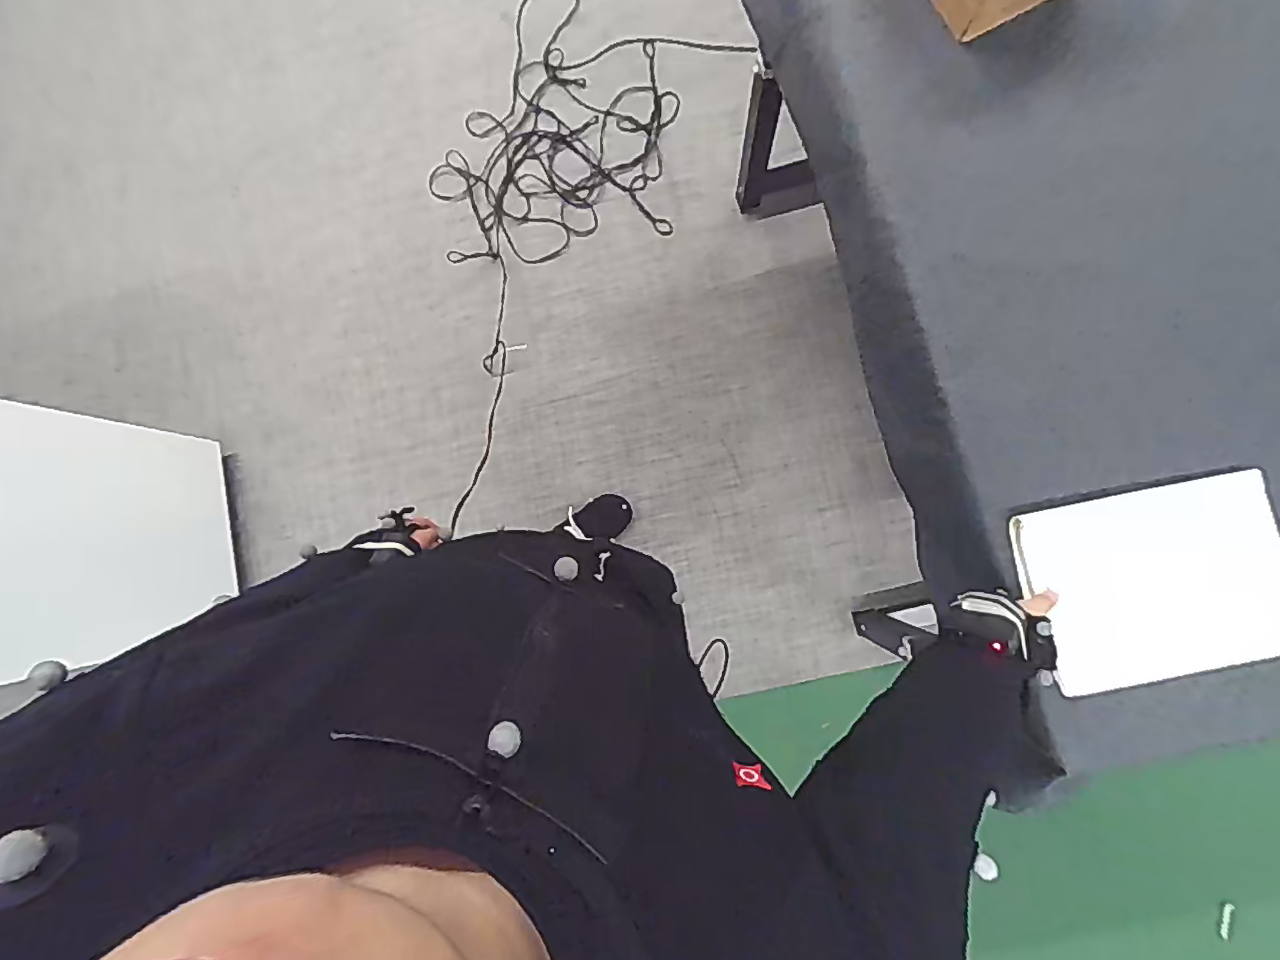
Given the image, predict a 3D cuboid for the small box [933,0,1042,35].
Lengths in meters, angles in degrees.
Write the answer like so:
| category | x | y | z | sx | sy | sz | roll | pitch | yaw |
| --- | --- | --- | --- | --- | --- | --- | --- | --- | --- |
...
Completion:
| category | x | y | z | sx | sy | sz | roll | pitch | yaw |
| --- | --- | --- | --- | --- | --- | --- | --- | --- | --- |
| small box | 0.423 | -0.663 | 0.600 | 0.168 | 0.176 | 0.179 | -27 | 83 | 1 |
